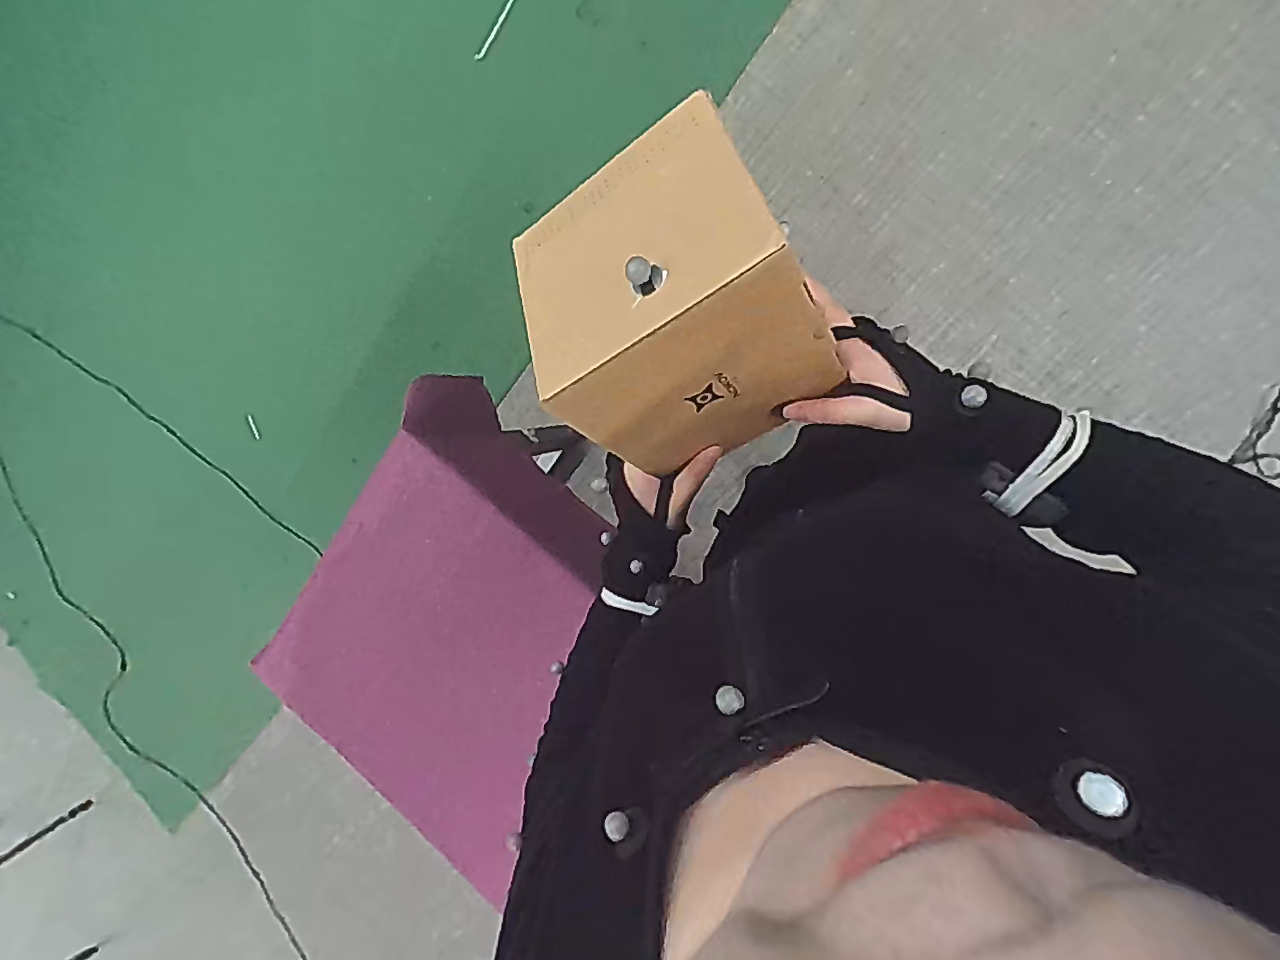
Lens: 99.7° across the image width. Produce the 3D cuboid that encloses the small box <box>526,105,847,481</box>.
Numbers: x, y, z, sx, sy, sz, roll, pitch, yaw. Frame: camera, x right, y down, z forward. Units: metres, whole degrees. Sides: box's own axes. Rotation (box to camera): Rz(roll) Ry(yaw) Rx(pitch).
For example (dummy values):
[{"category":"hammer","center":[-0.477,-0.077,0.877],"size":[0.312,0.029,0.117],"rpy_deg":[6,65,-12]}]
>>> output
[{"category":"small box","center":[0.028,-0.130,0.417],"size":[0.179,0.168,0.176],"rpy_deg":[-28,58,21]}]
